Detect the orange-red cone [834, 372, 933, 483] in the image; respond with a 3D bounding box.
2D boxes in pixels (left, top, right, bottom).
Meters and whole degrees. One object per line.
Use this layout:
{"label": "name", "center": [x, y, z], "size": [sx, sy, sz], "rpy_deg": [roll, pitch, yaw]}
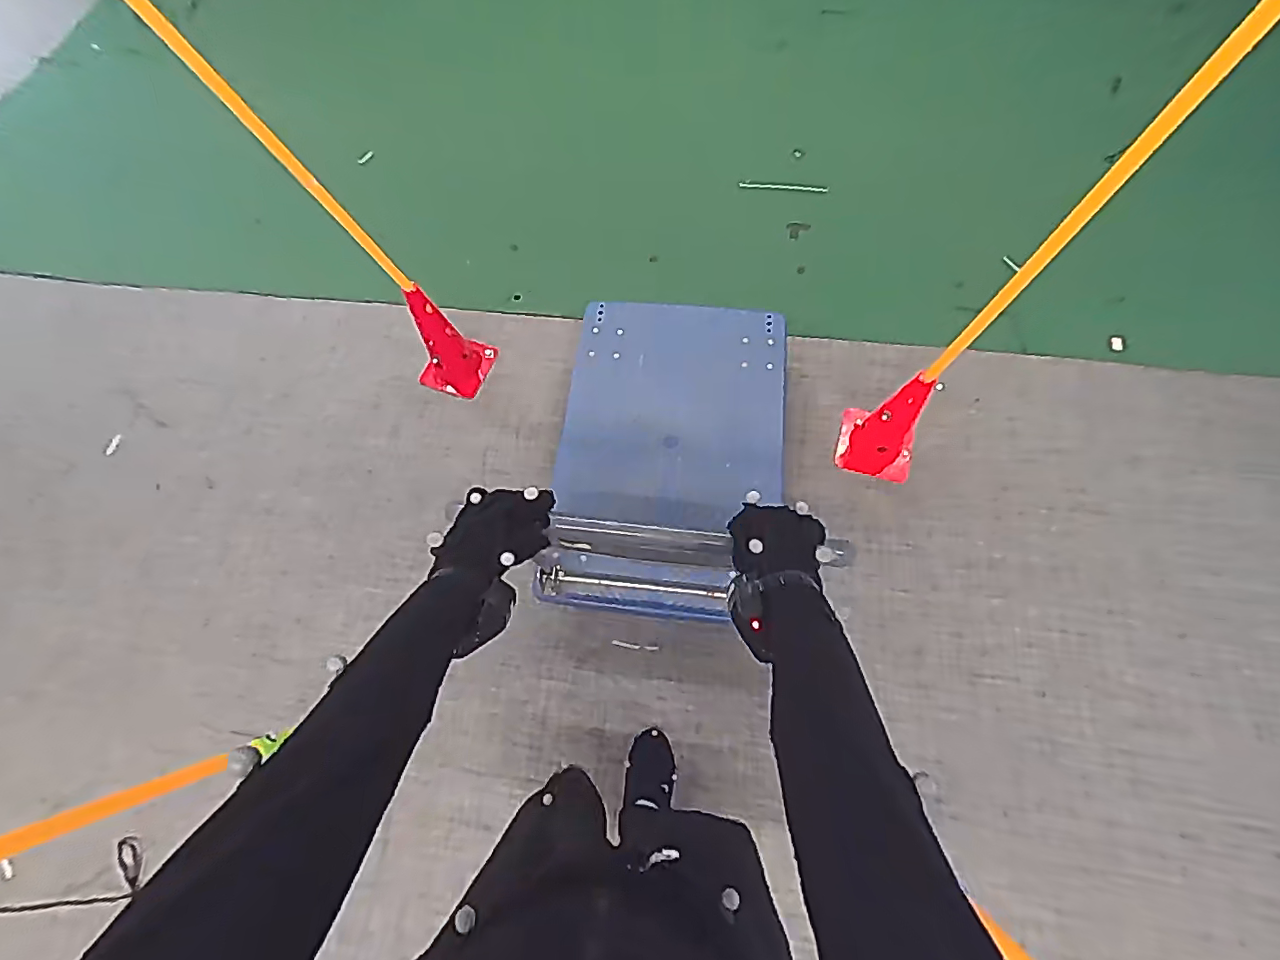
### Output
{"label": "orange-red cone", "center": [0.661, -0.163, 1.393], "size": [0.198, 0.360, 0.199], "rpy_deg": [17, 70, 10]}
